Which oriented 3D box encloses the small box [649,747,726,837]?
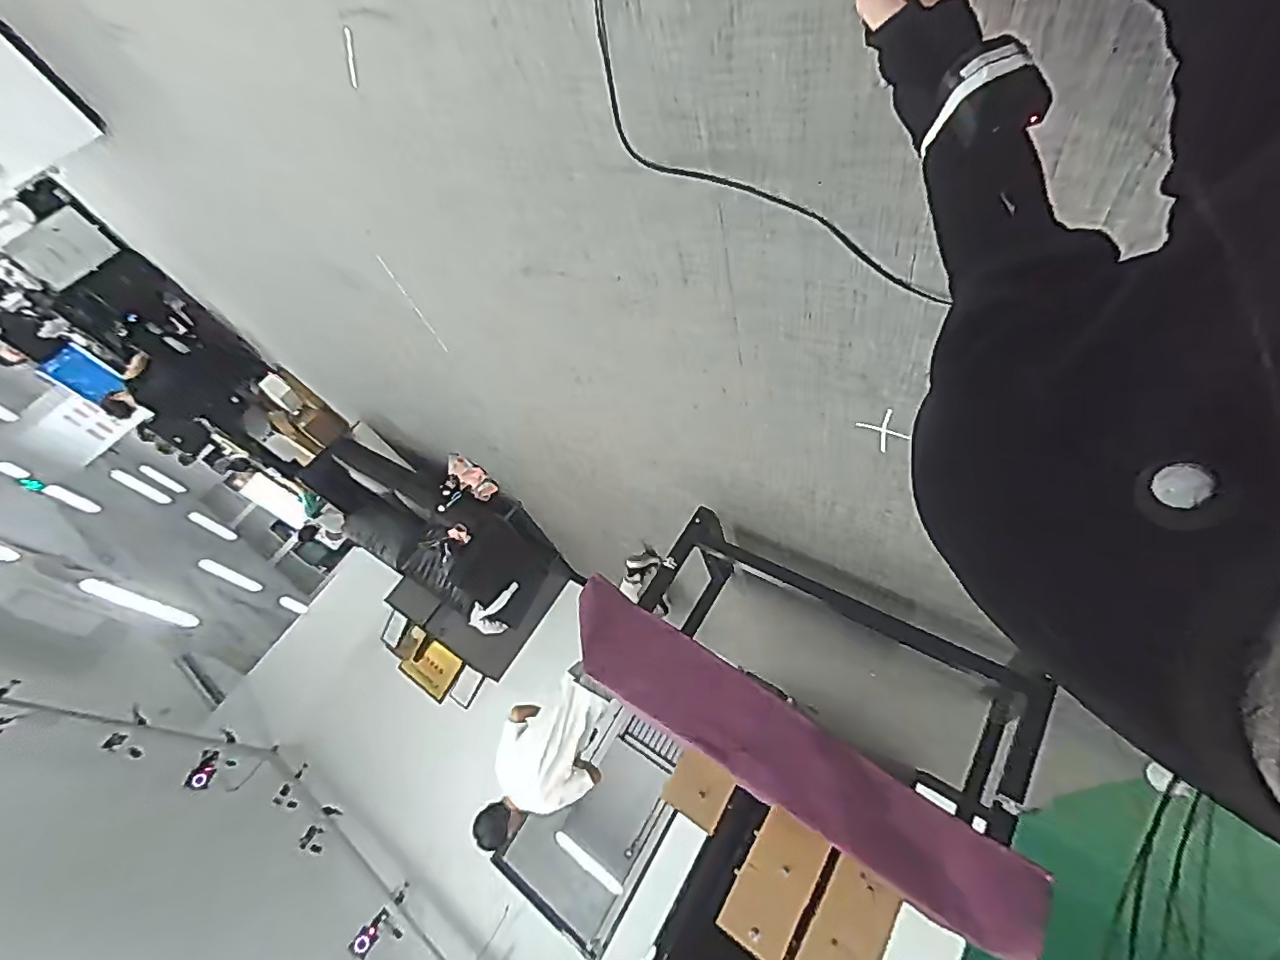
[{"bbox_3d":[0.149,0.942,1.641,0.179,0.176,0.168,26,156,21],"label":"small box"}]
